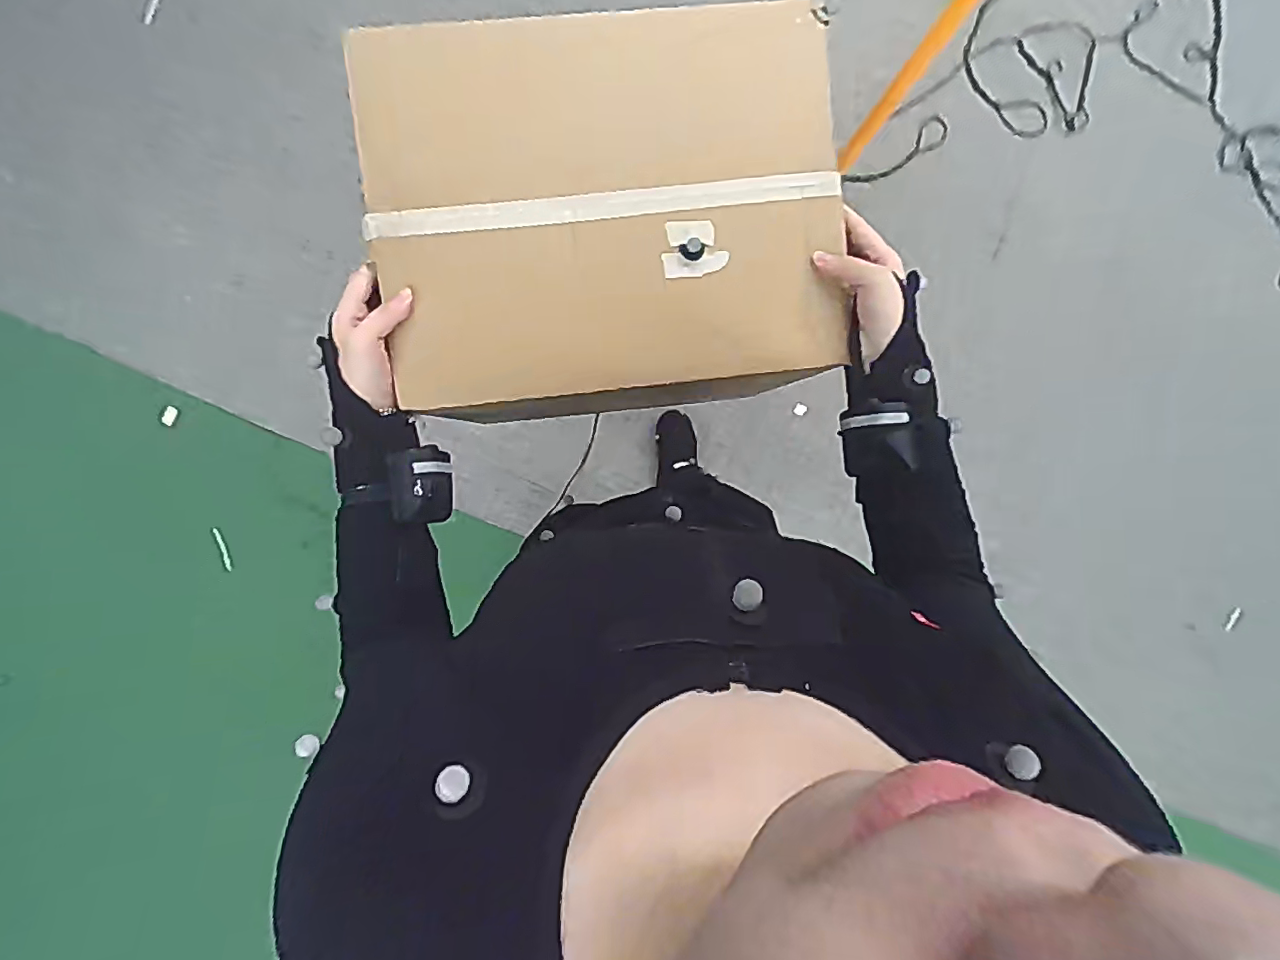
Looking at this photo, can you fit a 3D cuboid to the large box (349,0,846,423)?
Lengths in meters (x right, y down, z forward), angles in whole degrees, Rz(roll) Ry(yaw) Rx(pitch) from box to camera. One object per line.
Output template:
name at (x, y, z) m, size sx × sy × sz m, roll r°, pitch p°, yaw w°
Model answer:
large box at (-0.040, -0.252, 0.620) m, size 0.408 × 0.320 × 0.320 m, roll -8°, pitch 95°, yaw -4°
